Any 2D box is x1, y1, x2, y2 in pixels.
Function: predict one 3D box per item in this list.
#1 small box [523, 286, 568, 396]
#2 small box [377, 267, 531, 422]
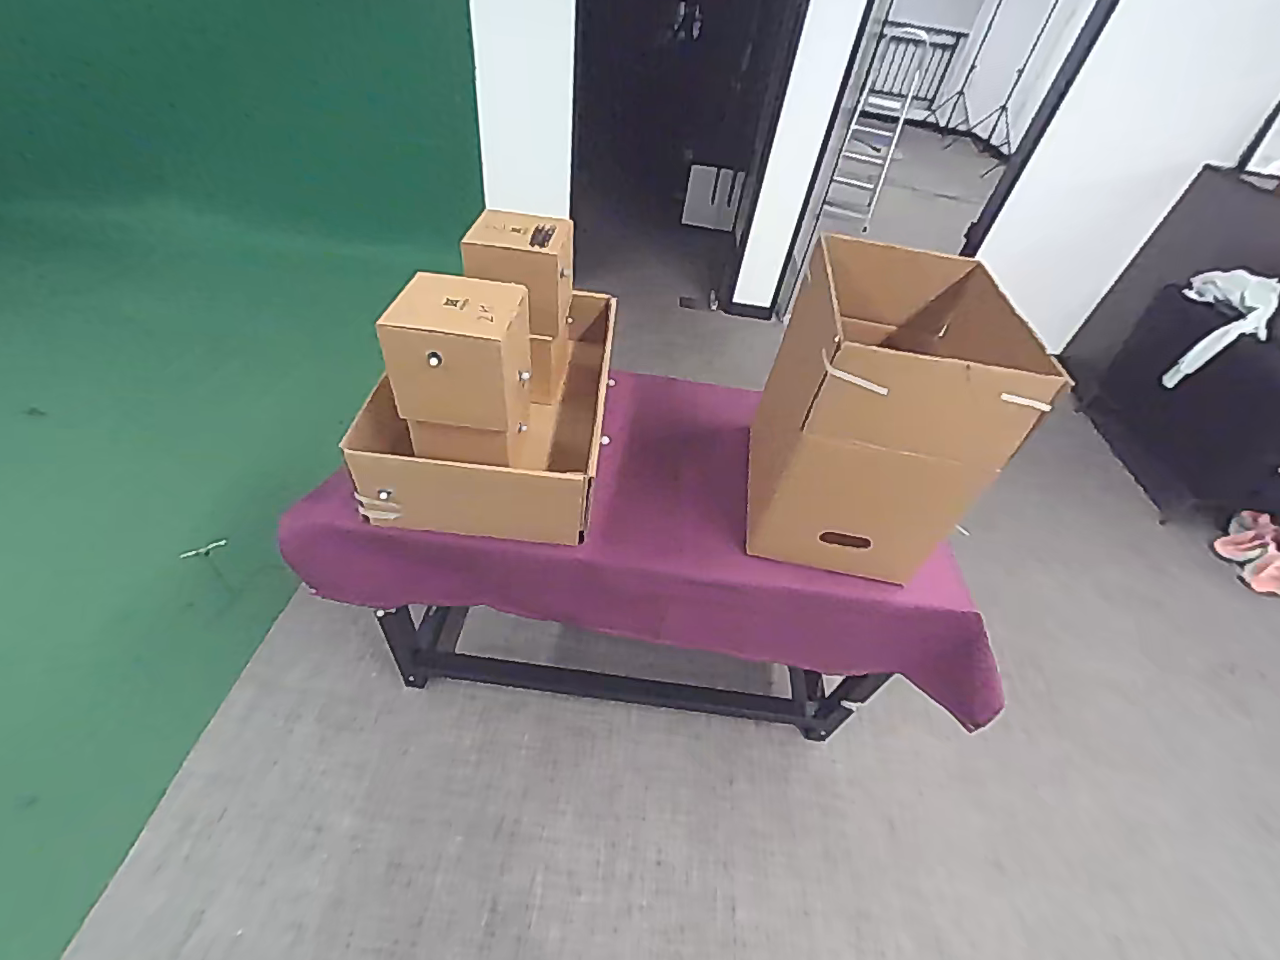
[{"bbox_3d":[-0.252,-0.304,1.175,0.168,0.176,0.179,8,46,-1],"label":"small box"},{"bbox_3d":[-0.276,-0.209,0.850,0.179,0.176,0.168,8,47,-1],"label":"small box"}]
